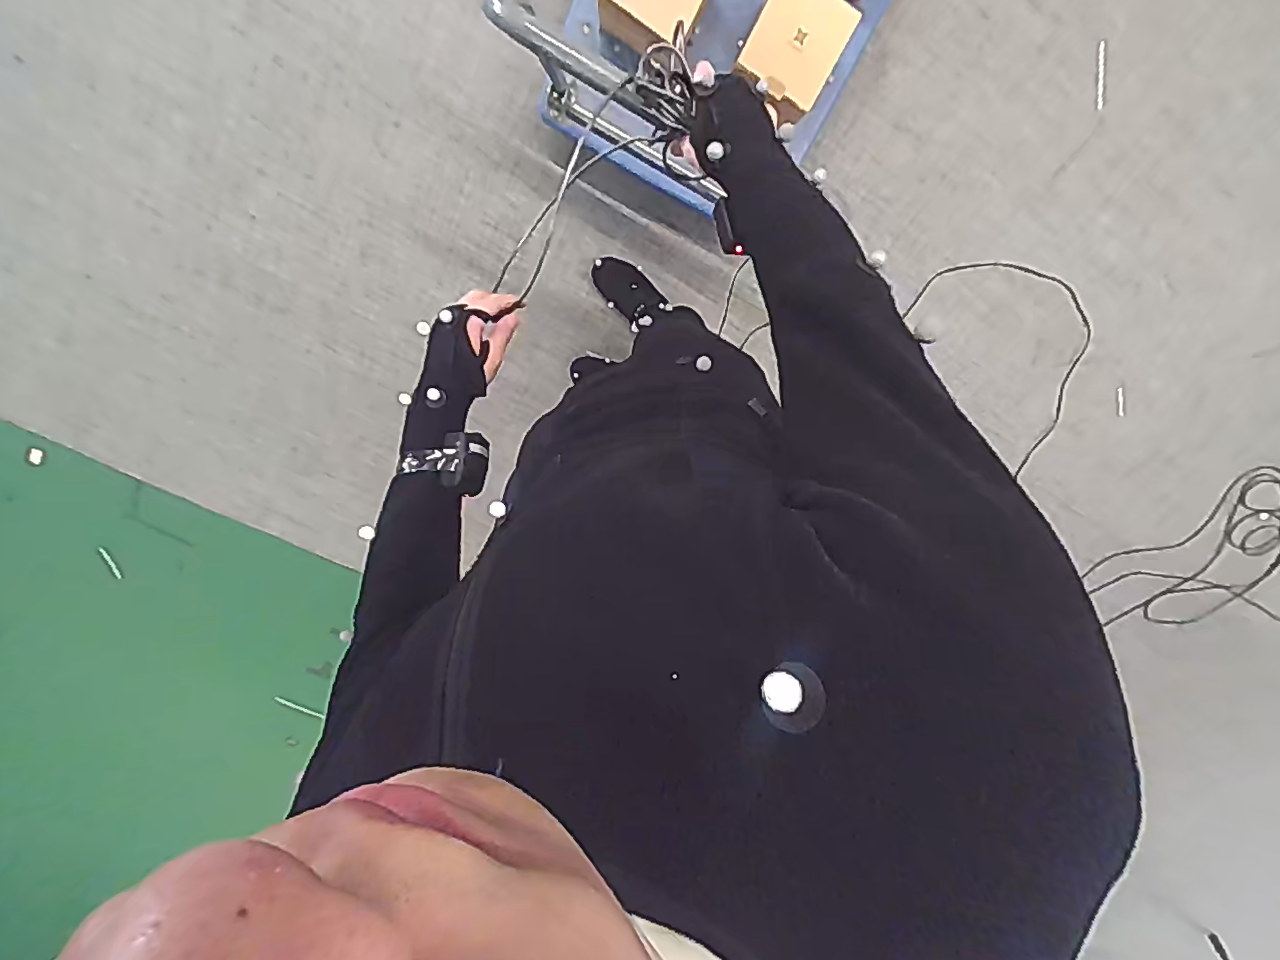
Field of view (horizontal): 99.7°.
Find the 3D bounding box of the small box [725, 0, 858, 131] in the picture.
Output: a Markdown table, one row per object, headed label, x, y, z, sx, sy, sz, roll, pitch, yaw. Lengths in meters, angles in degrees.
| label | x | y | z | sx | sy | sz | roll | pitch | yaw |
| --- | --- | --- | --- | --- | --- | --- | --- | --- | --- |
| small box | 0.285 | -0.833 | 1.066 | 0.168 | 0.176 | 0.179 | 26 | 110 | -12 |
